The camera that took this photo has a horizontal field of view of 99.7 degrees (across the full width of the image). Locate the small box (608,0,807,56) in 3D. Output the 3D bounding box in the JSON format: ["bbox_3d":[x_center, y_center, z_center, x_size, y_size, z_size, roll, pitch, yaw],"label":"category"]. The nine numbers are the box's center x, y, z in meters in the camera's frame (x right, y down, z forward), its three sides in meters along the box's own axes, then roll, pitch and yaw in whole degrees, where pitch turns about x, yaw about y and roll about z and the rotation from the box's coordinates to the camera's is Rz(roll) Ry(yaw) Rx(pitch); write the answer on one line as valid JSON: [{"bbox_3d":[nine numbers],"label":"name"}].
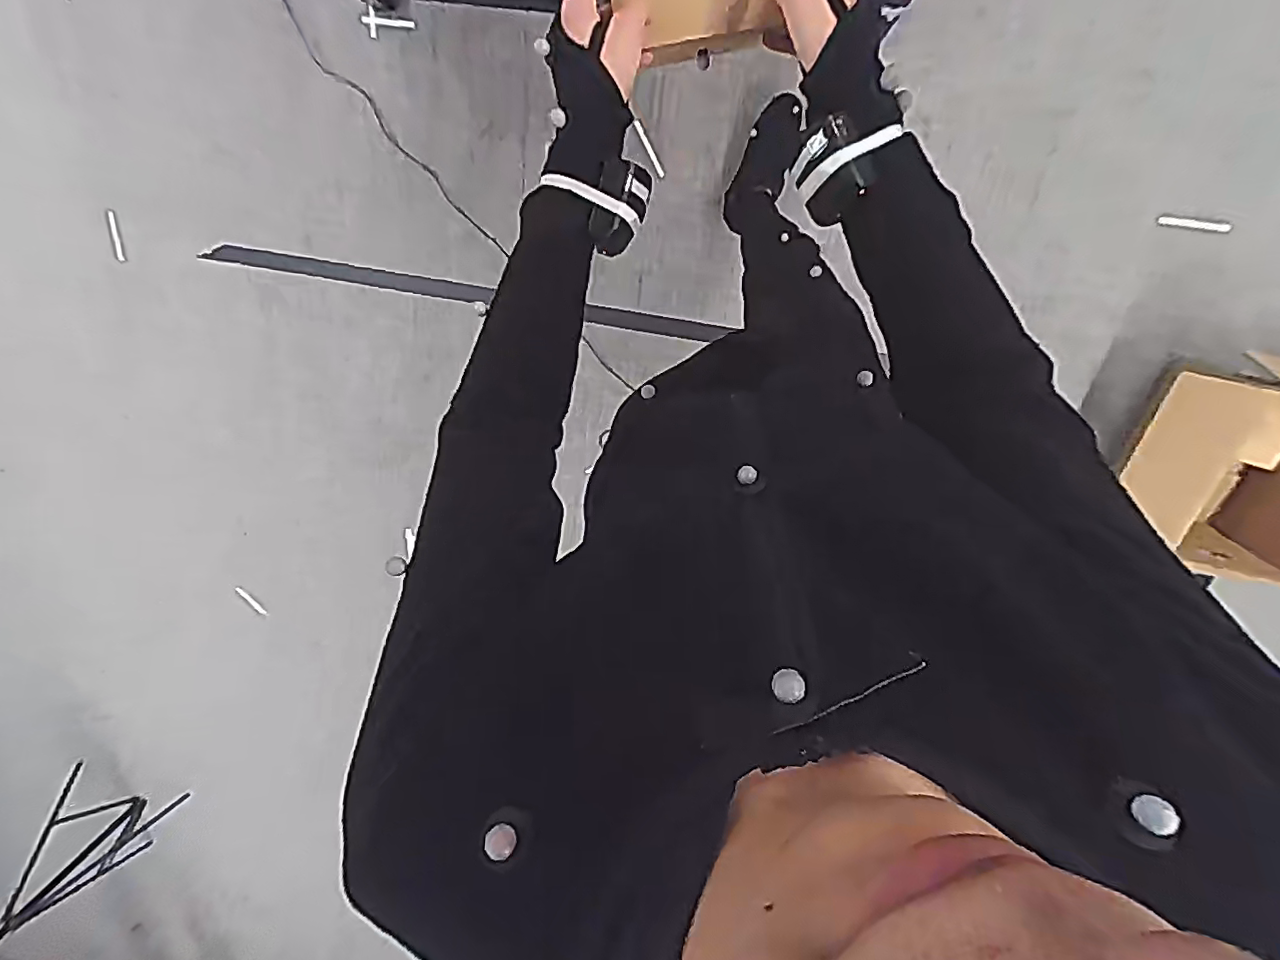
[{"bbox_3d":[0.052,-0.494,0.473,0.168,0.176,0.179,-5,122,6],"label":"small box"}]
